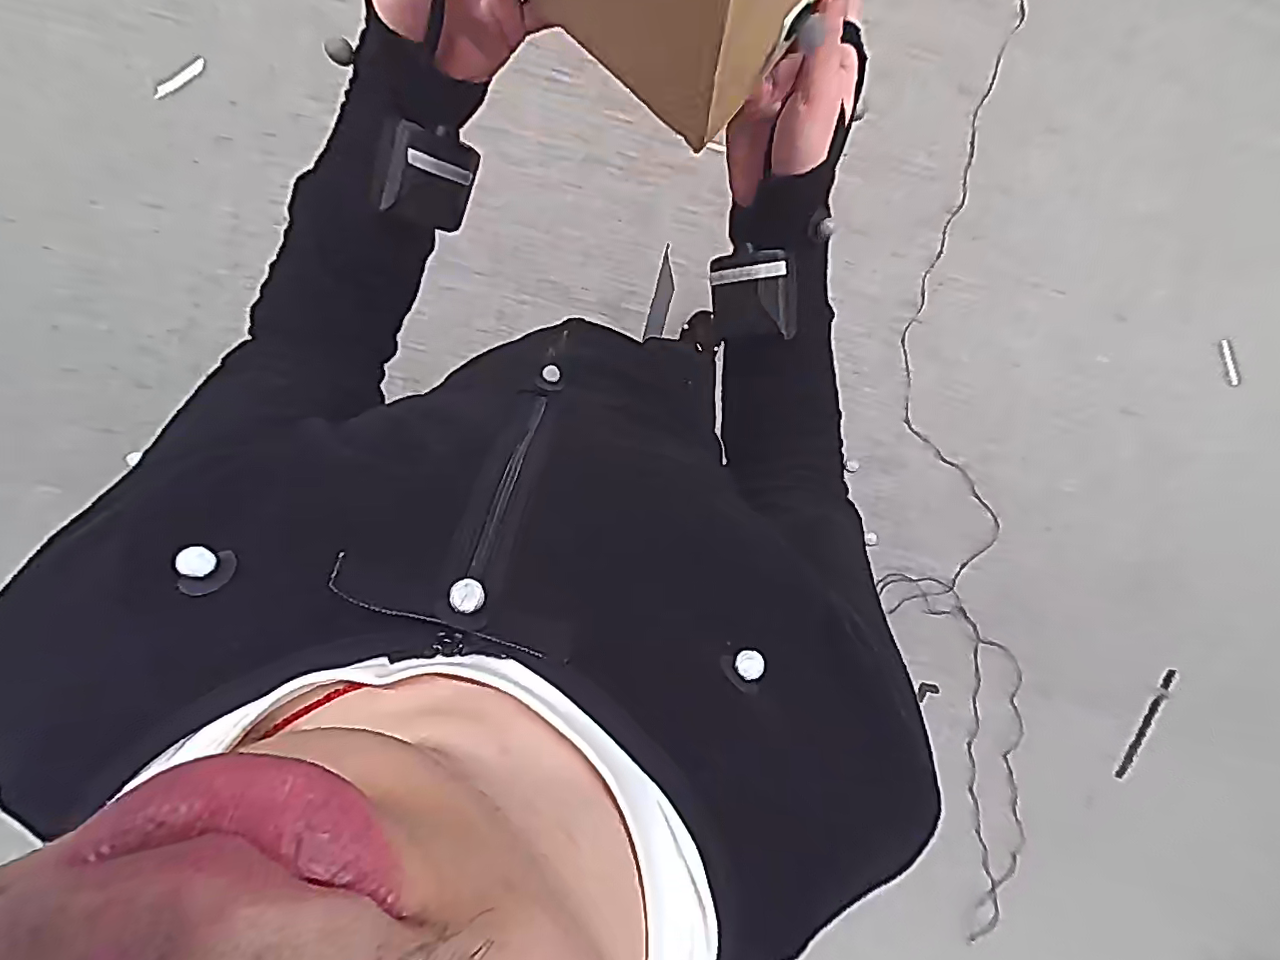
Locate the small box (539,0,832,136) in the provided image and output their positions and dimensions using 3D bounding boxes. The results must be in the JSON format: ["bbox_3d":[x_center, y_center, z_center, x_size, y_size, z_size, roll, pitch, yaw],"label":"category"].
[{"bbox_3d":[0.024,-0.300,0.235,0.179,0.176,0.168,39,100,-6],"label":"small box"}]
